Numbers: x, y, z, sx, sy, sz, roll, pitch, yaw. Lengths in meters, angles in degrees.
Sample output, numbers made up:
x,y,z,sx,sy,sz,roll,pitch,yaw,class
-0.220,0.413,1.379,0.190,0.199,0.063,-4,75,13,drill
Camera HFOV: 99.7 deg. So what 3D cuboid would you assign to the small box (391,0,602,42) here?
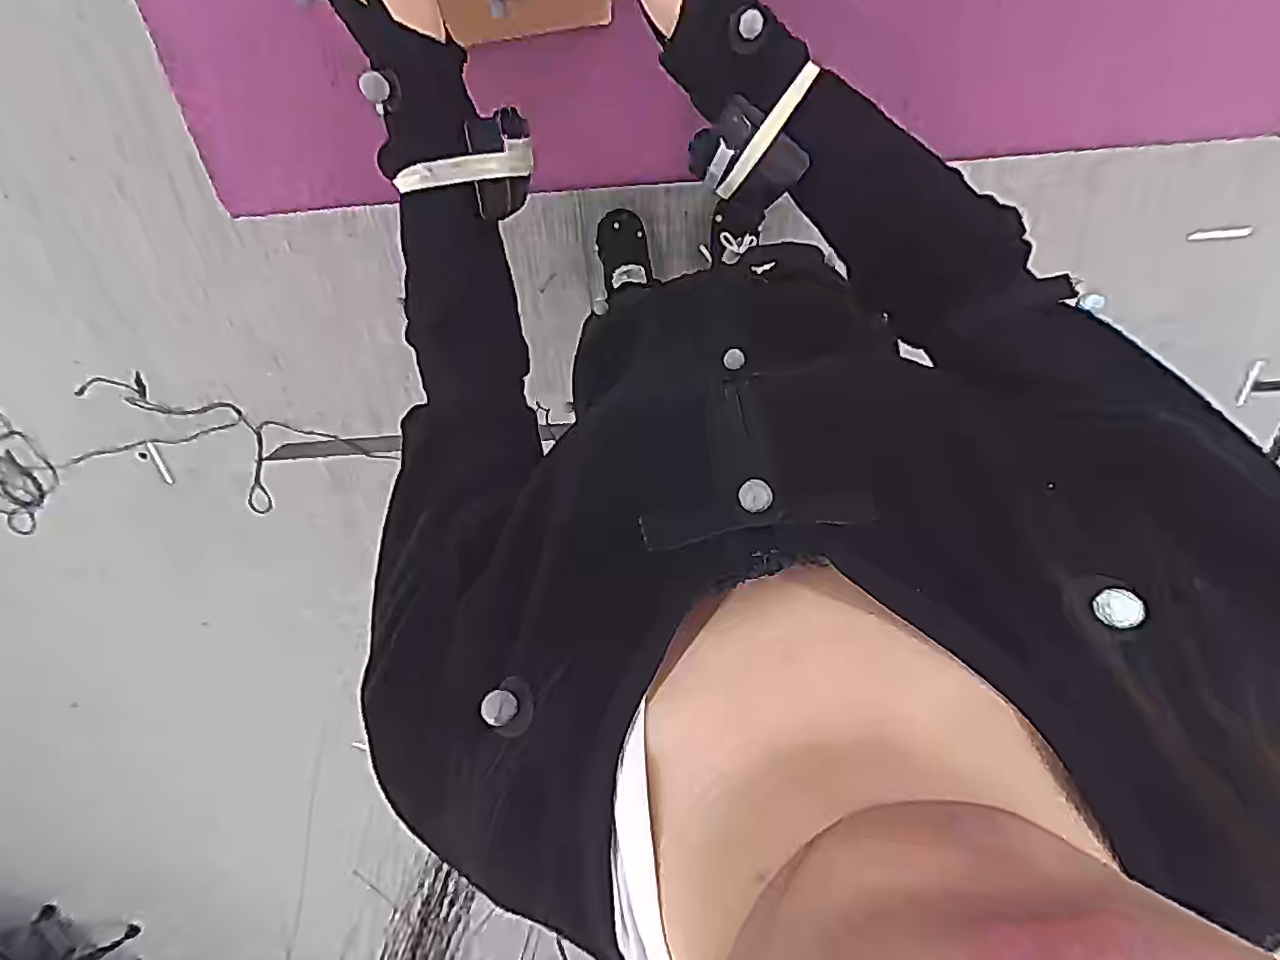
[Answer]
x,y,z,sx,sy,sz,roll,pitch,yaw,class
-0.123,-0.485,0.437,0.179,0.176,0.168,-7,118,1,small box
